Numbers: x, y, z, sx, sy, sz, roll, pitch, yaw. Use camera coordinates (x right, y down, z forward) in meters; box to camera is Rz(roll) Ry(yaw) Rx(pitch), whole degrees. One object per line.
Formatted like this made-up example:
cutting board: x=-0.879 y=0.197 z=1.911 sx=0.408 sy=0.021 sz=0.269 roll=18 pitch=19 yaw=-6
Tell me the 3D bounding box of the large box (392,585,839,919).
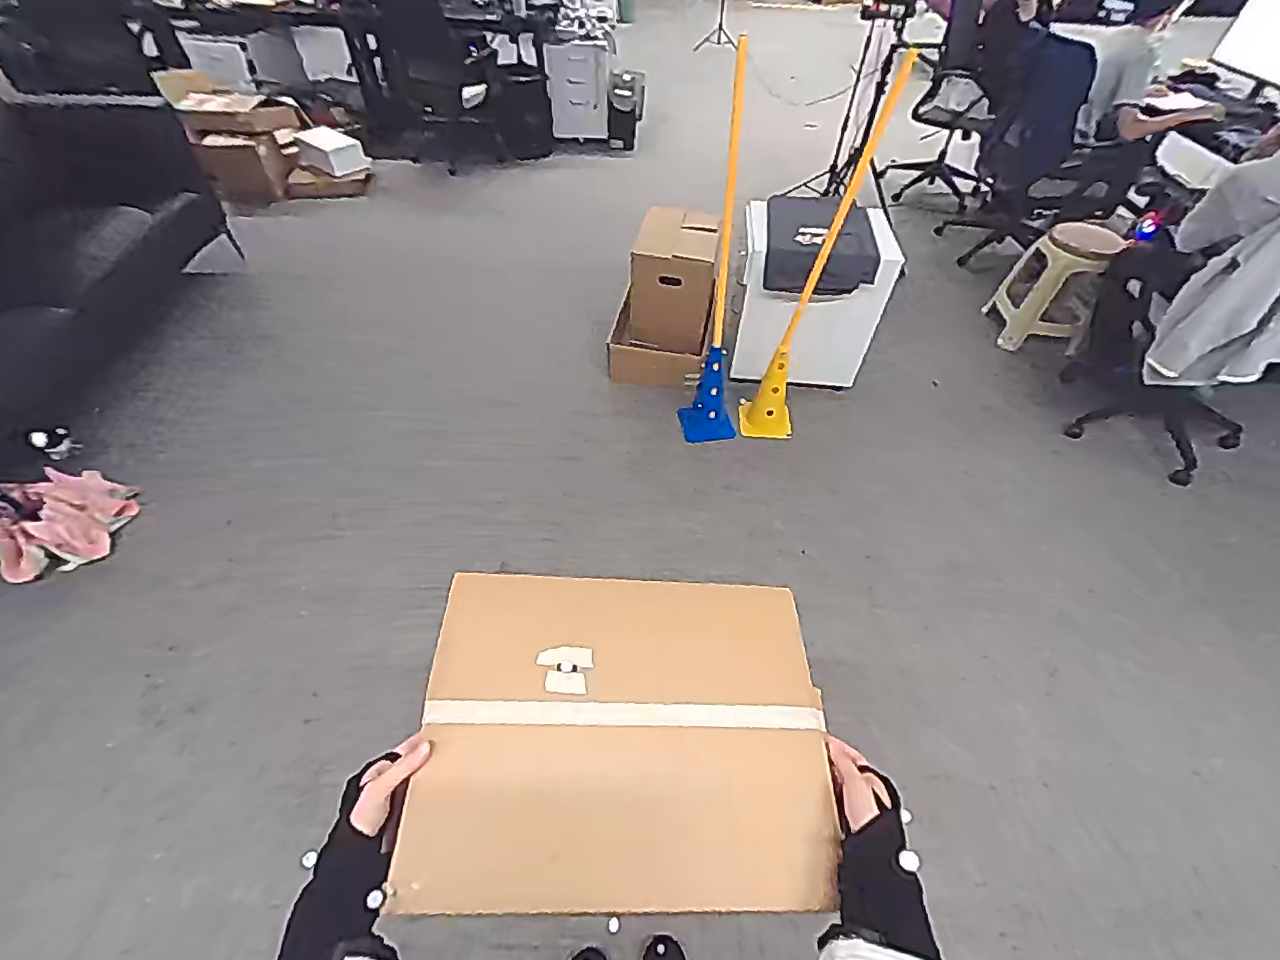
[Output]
large box: x=-0.028 y=0.346 z=0.682 sx=0.408 sy=0.320 sz=0.320 roll=4 pitch=51 yaw=-4
